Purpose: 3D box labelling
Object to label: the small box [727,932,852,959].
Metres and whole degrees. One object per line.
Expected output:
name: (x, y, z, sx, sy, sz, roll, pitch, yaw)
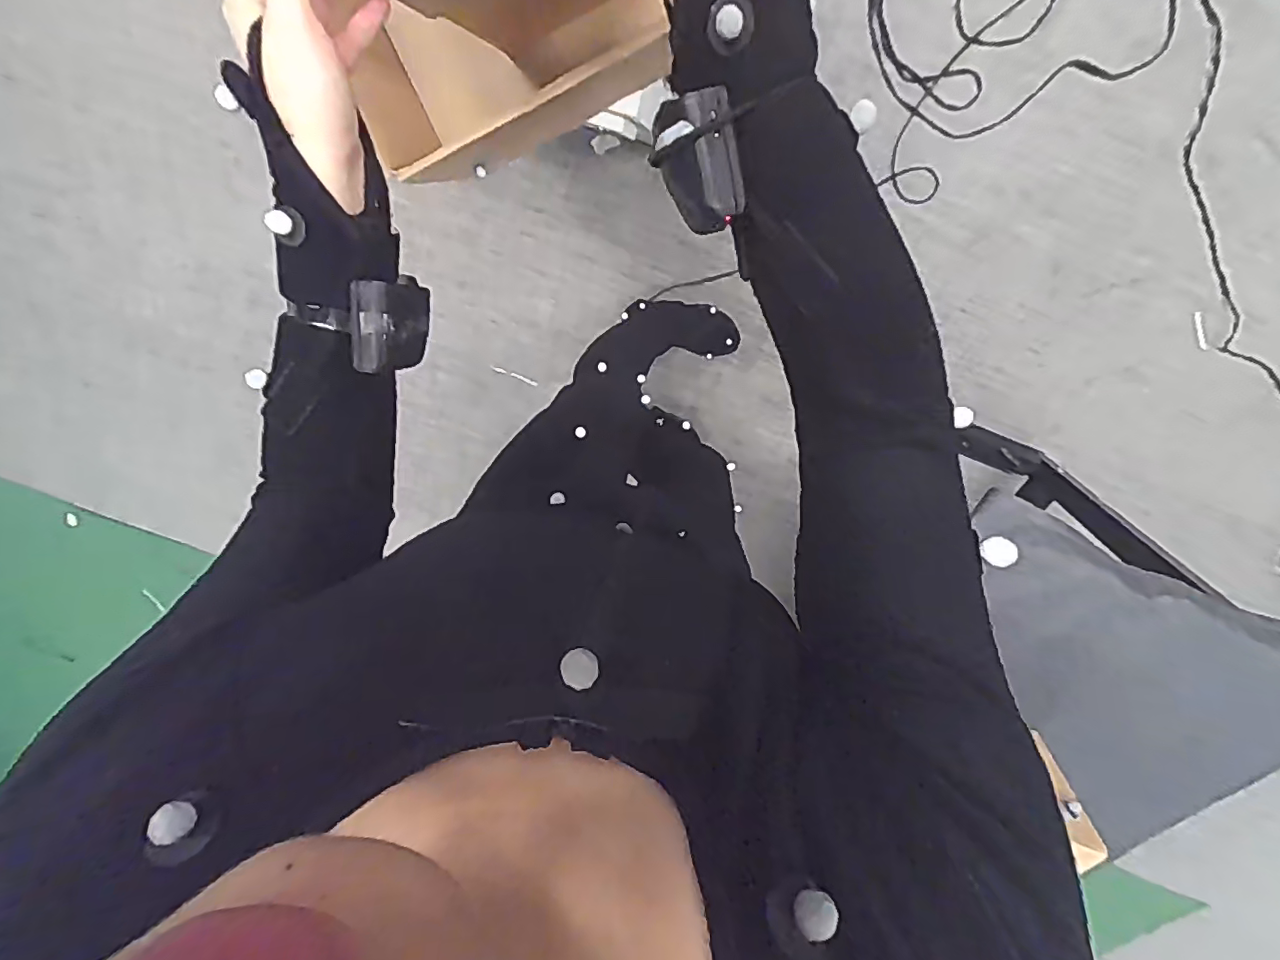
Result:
small box: (0.240, 0.817, 0.799, 0.179, 0.176, 0.168, 27, 116, -7)
